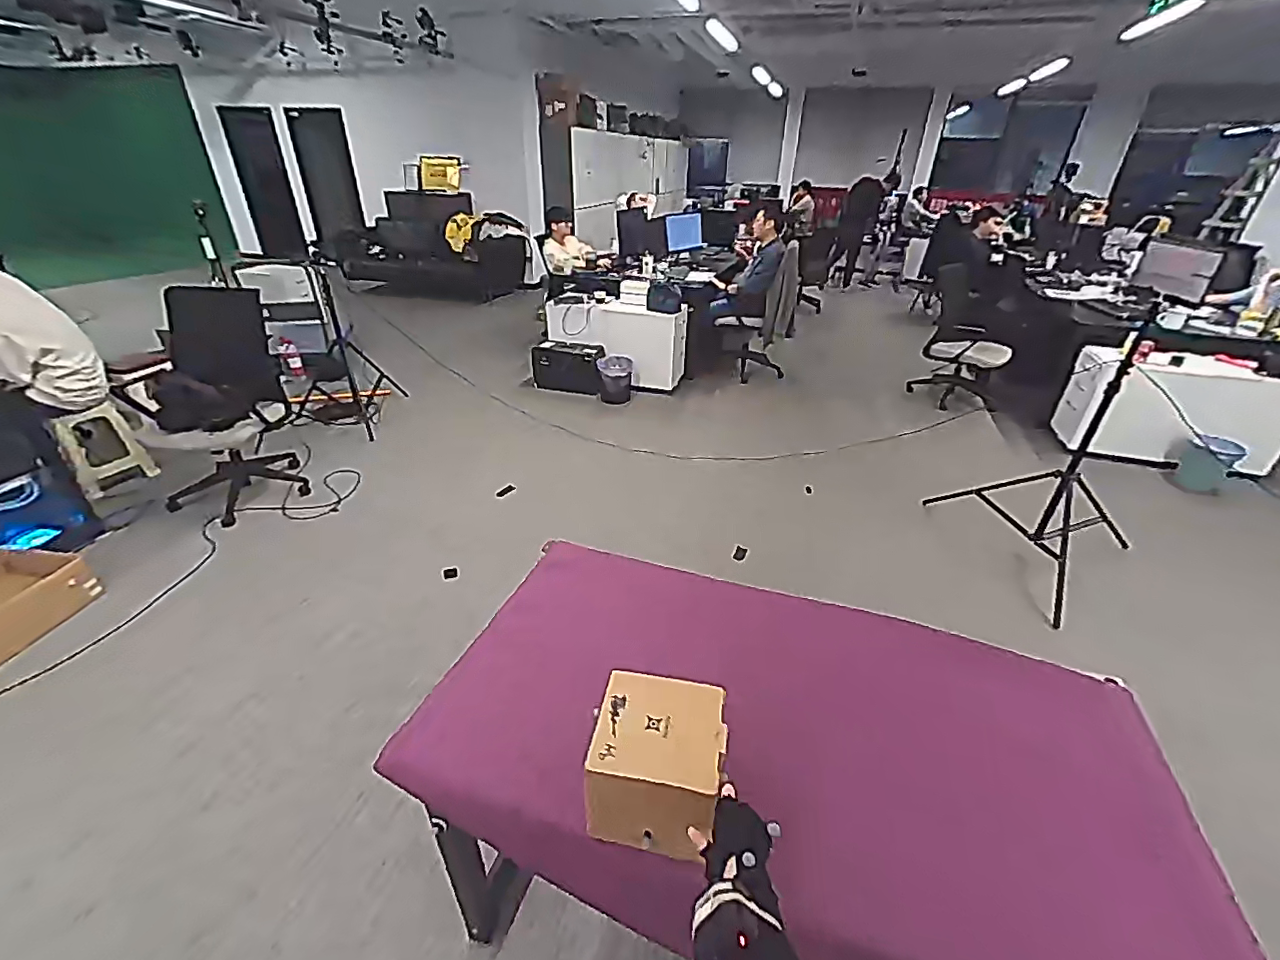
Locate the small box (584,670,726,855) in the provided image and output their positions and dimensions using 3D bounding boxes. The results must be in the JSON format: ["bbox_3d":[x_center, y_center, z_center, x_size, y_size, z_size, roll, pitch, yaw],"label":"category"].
[{"bbox_3d":[0.026,0.412,0.793,0.179,0.176,0.168,6,30,9],"label":"small box"}]
